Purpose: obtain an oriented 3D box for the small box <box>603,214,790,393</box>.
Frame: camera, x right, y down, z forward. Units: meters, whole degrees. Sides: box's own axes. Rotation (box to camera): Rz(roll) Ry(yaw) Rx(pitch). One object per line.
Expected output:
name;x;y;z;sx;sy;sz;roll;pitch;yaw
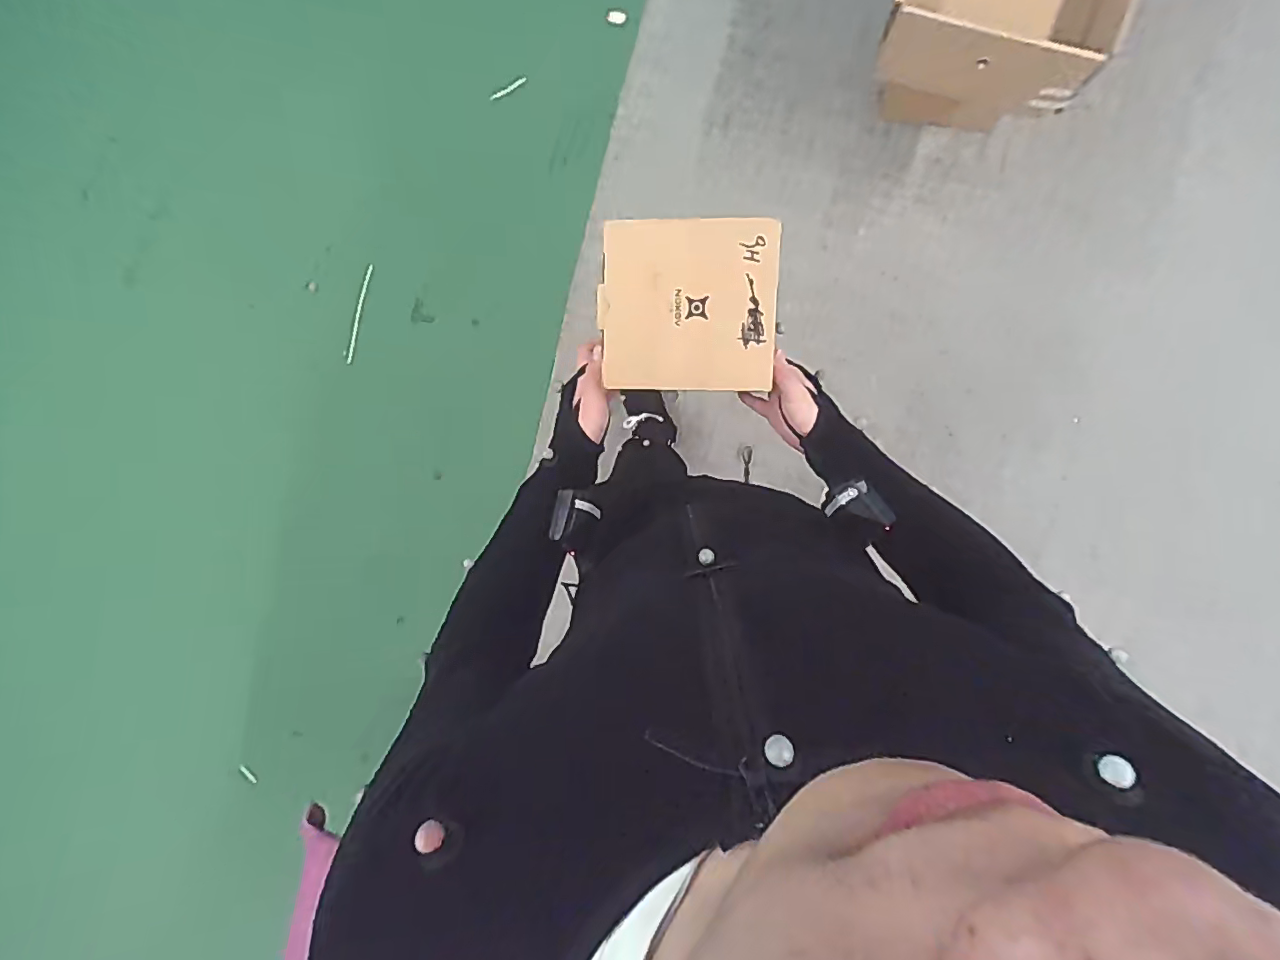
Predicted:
small box;0.060;-0.187;0.612;0.179;0.176;0.168;3;100;4
